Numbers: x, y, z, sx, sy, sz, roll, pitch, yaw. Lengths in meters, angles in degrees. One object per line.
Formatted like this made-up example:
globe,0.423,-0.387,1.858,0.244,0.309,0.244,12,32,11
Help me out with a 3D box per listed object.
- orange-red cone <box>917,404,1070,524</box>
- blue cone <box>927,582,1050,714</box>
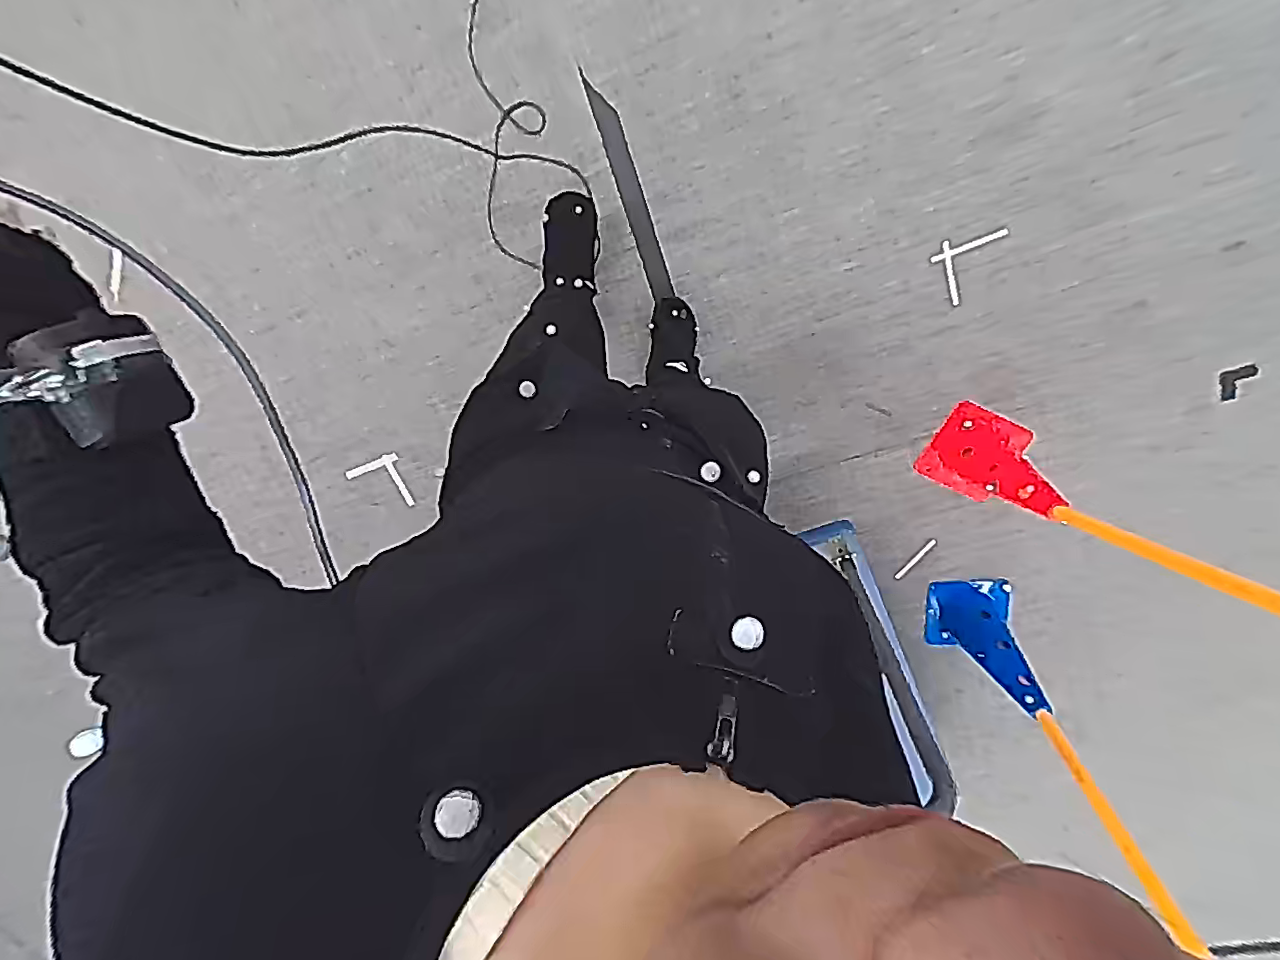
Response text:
orange-red cone,0.763,0.001,1.114,0.198,0.360,0.199,26,113,-2
blue cone,0.838,0.409,1.272,0.193,0.380,0.192,-2,109,8
